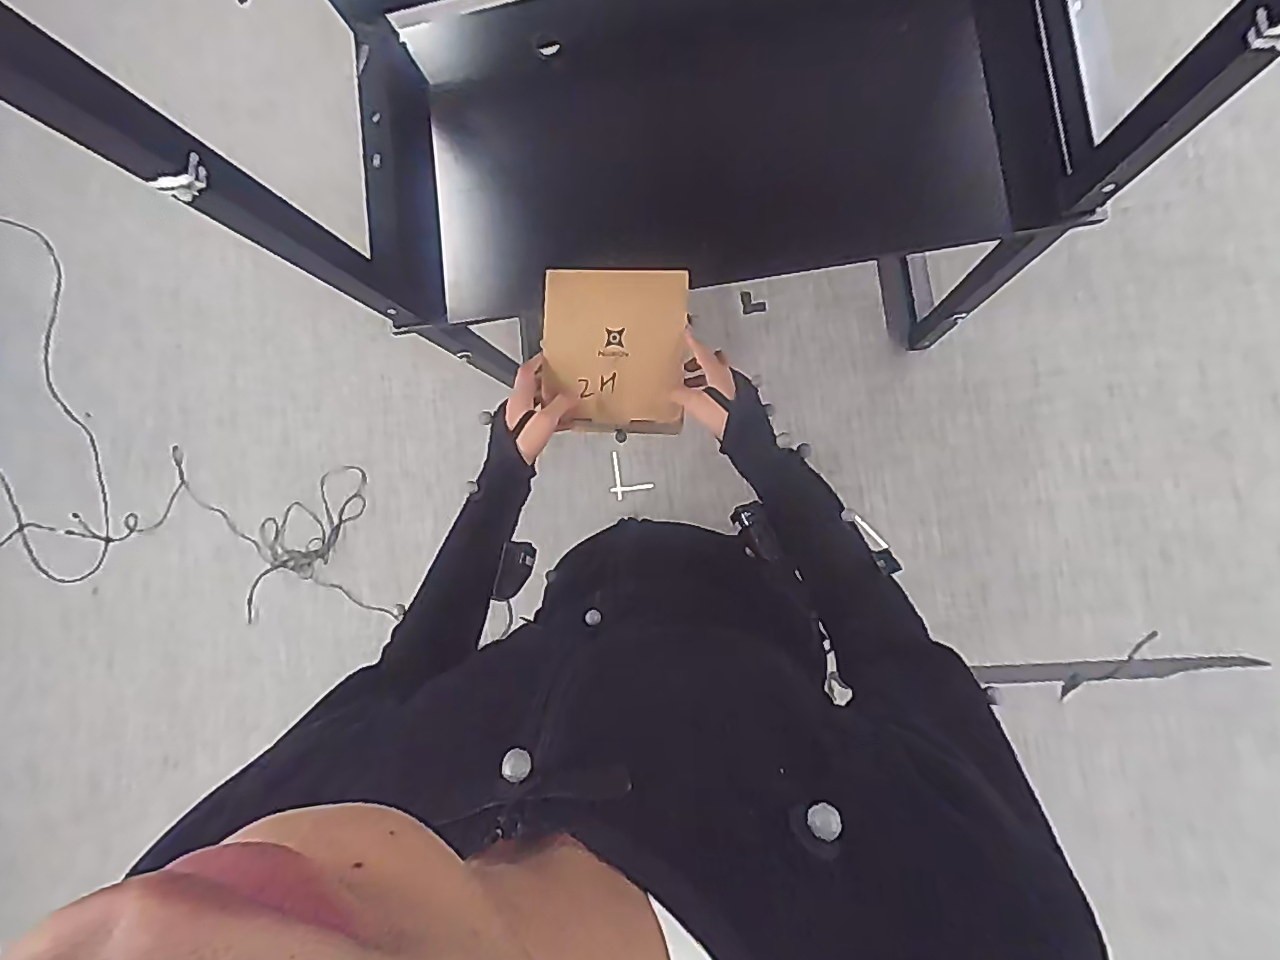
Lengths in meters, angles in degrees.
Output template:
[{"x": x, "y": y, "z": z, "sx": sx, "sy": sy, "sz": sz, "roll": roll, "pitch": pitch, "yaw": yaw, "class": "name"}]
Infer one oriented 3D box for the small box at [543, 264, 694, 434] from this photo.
[{"x": -0.019, "y": -0.156, "z": 0.692, "sx": 0.168, "sy": 0.176, "sz": 0.179, "roll": 3, "pitch": 91, "yaw": 5, "class": "small box"}]
